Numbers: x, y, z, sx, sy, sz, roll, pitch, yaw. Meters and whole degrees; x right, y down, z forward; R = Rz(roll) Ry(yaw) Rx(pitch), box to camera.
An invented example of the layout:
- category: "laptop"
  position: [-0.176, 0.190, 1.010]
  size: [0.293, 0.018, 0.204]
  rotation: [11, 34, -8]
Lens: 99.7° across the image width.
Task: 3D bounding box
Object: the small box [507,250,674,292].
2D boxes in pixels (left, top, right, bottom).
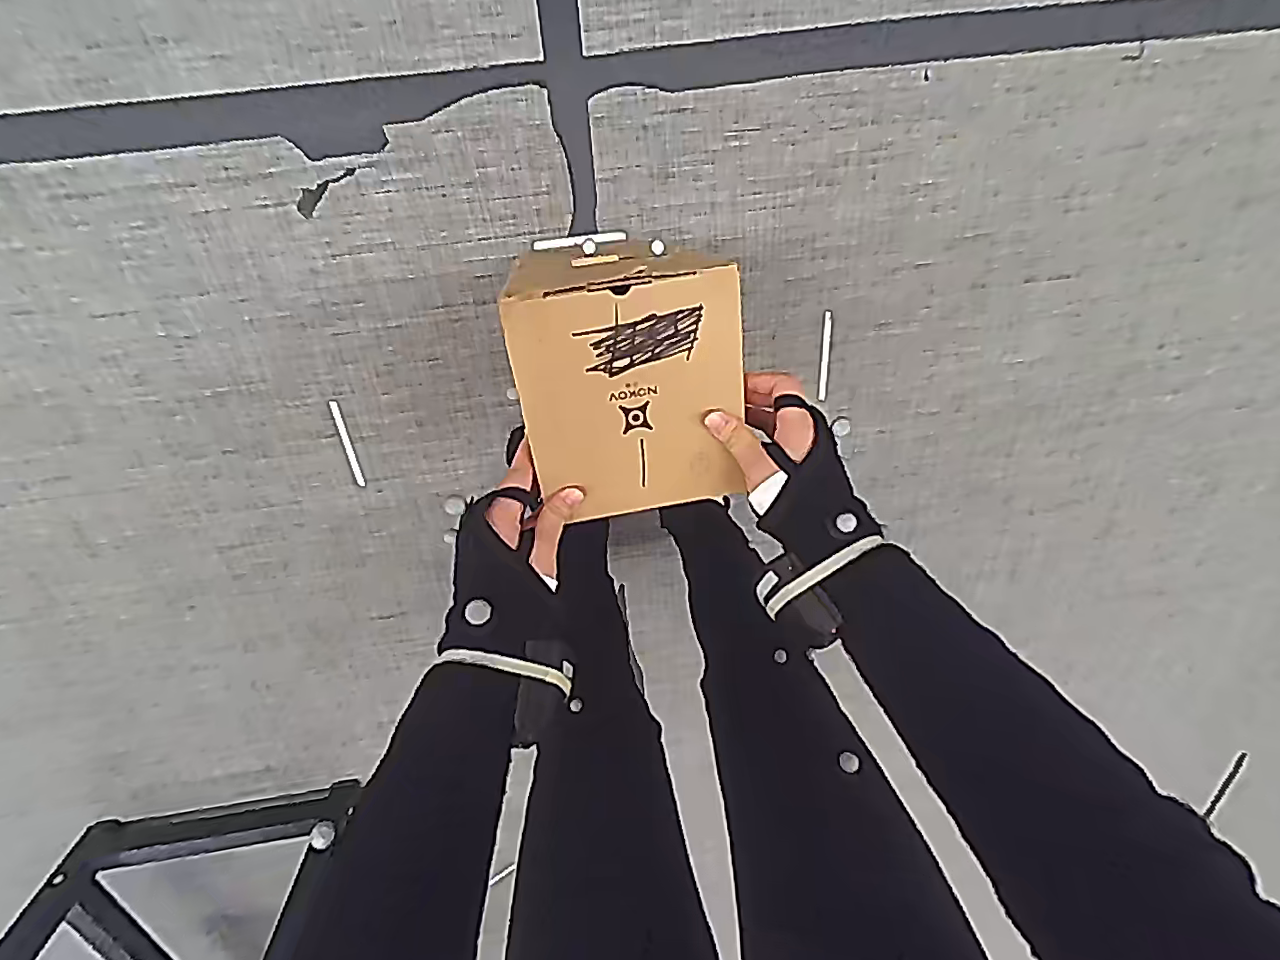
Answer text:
- category: "small box"
  position: [-0.049, -0.161, 0.620]
  size: [0.168, 0.176, 0.179]
  rotation: [-10, 116, -3]

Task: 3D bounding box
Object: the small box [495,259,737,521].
- category: "small box"
  position: [-0.021, -0.091, 0.474]
  size: [0.168, 0.176, 0.179]
  rotation: [-10, 117, -4]
